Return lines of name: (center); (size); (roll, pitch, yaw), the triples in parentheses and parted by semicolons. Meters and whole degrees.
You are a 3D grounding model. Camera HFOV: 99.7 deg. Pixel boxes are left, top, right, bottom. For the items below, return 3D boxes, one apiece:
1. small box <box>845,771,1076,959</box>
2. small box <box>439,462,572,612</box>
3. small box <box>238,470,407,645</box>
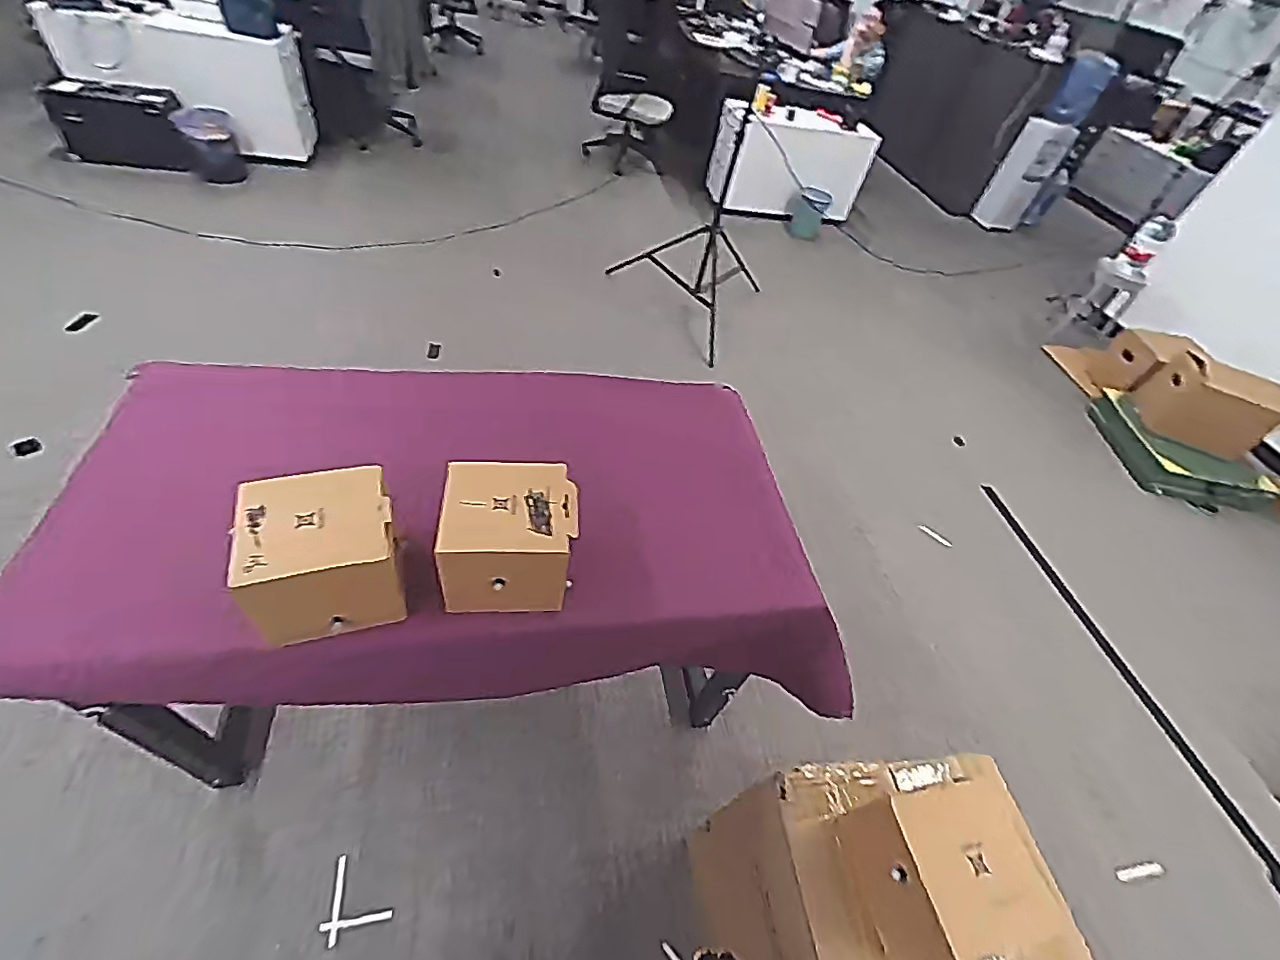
small box: (0.410, 0.521, 0.731); (0.168, 0.176, 0.179); (-4, 51, -13)
small box: (-0.199, 0.092, 0.836); (0.179, 0.176, 0.168); (2, 48, -10)
small box: (-0.433, 0.109, 0.767); (0.179, 0.176, 0.168); (-8, 50, -22)
